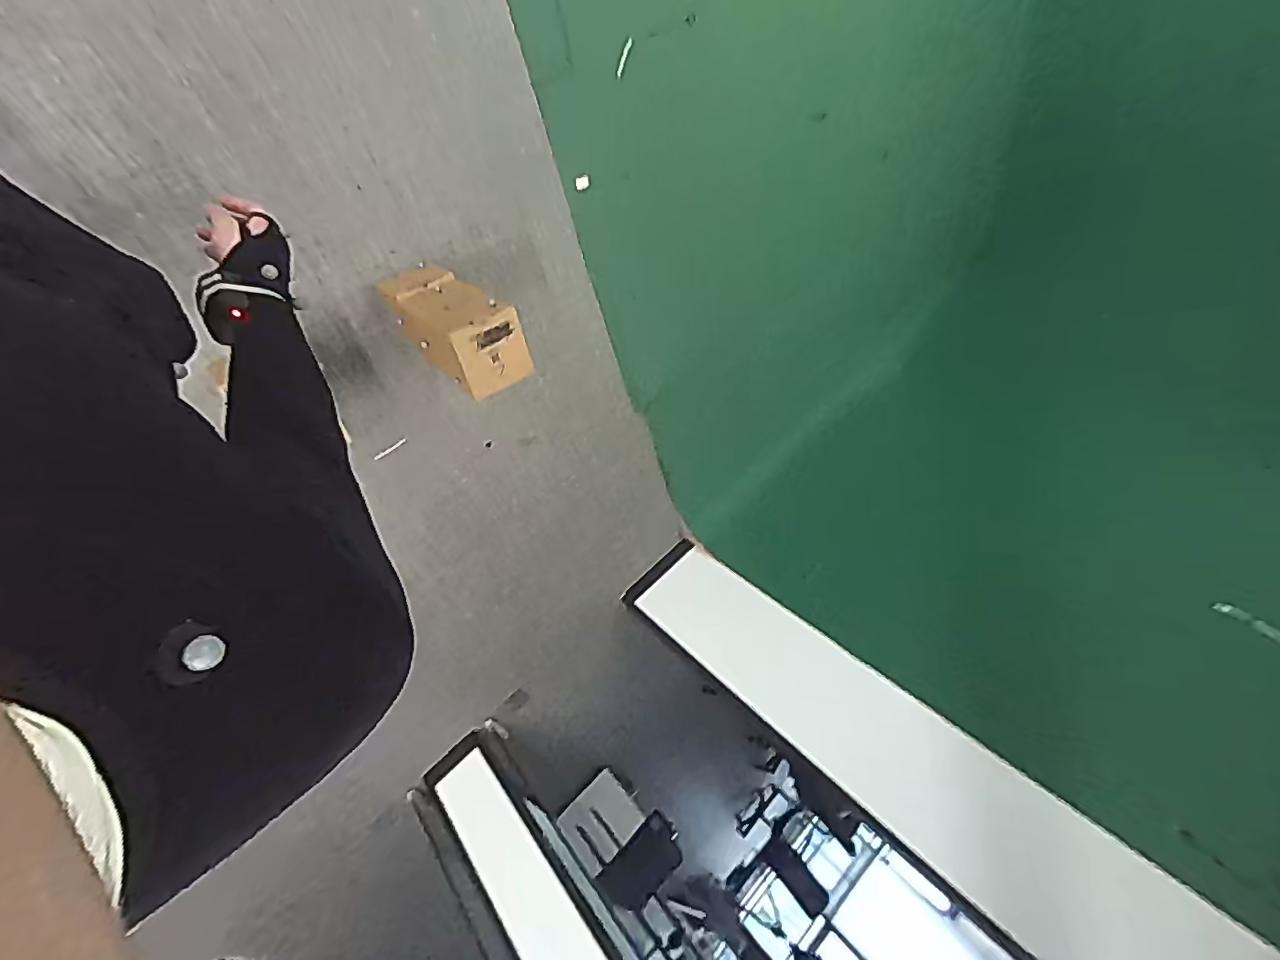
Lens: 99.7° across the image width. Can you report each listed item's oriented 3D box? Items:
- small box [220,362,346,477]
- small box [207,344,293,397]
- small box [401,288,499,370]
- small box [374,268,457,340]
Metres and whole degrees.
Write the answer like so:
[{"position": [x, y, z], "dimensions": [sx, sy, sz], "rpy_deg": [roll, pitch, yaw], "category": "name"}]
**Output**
[{"position": [-0.813, -0.143, 1.234], "dimensions": [0.168, 0.176, 0.179], "rpy_deg": [-35, 135, -26], "category": "small box"}, {"position": [-0.922, -0.219, 1.332], "dimensions": [0.168, 0.176, 0.179], "rpy_deg": [-37, 135, -22], "category": "small box"}, {"position": [-0.496, -0.393, 1.408], "dimensions": [0.179, 0.176, 0.168], "rpy_deg": [-5, 116, -44], "category": "small box"}, {"position": [-0.602, -0.470, 1.493], "dimensions": [0.168, 0.176, 0.179], "rpy_deg": [-35, 136, -24], "category": "small box"}]
